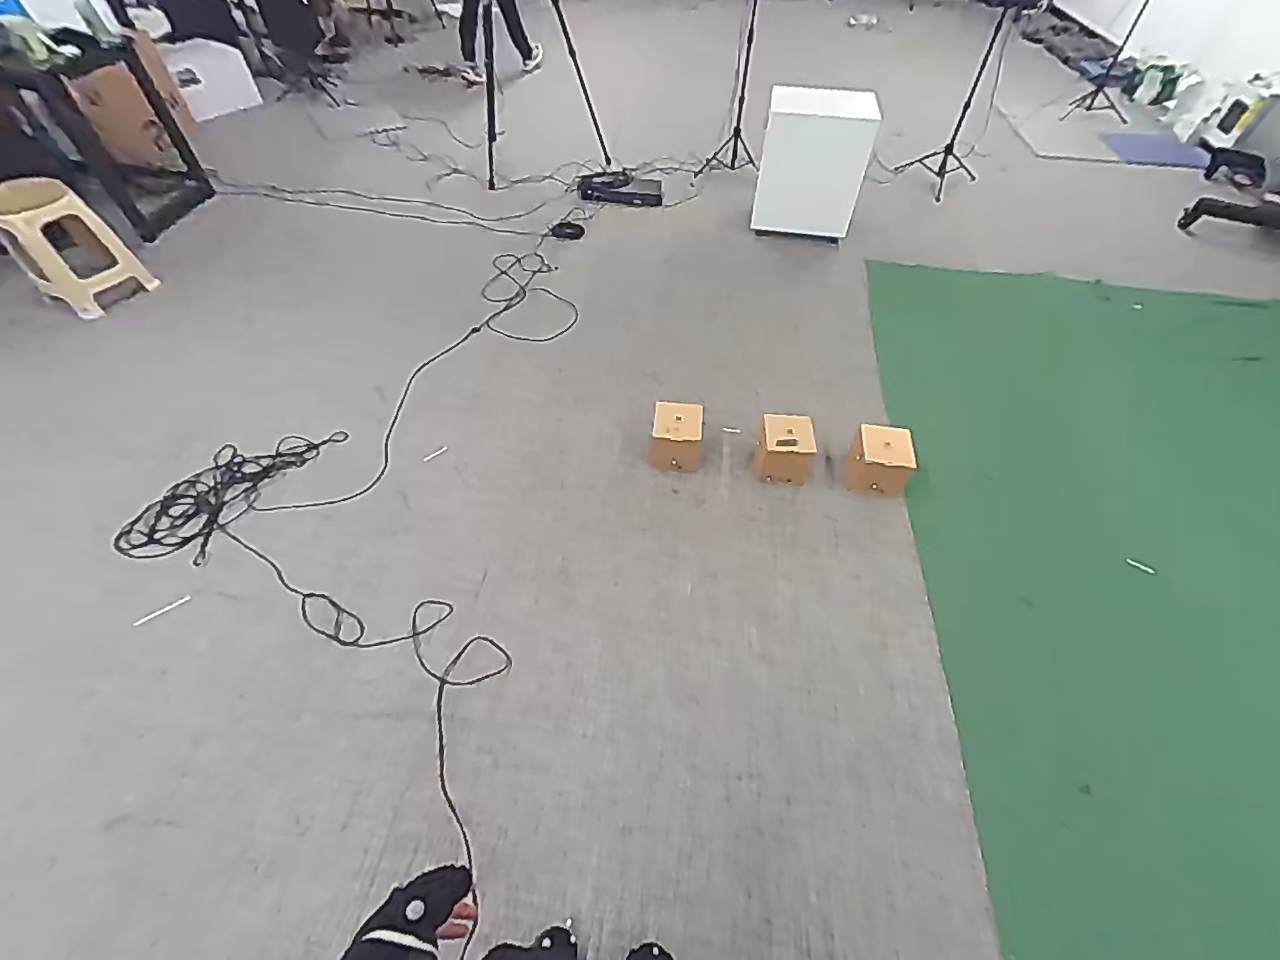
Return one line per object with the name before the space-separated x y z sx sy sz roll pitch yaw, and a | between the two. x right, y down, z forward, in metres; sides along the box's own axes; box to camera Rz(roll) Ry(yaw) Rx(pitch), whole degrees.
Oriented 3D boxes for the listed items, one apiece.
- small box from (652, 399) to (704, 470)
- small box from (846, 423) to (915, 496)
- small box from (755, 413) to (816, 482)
small box | 0.133 -0.161 1.918 0.168 0.176 0.179 5 52 4
small box | 0.825 -0.069 1.872 0.168 0.176 0.179 8 52 5
small box | 0.504 -0.112 1.894 0.168 0.176 0.179 4 51 1
